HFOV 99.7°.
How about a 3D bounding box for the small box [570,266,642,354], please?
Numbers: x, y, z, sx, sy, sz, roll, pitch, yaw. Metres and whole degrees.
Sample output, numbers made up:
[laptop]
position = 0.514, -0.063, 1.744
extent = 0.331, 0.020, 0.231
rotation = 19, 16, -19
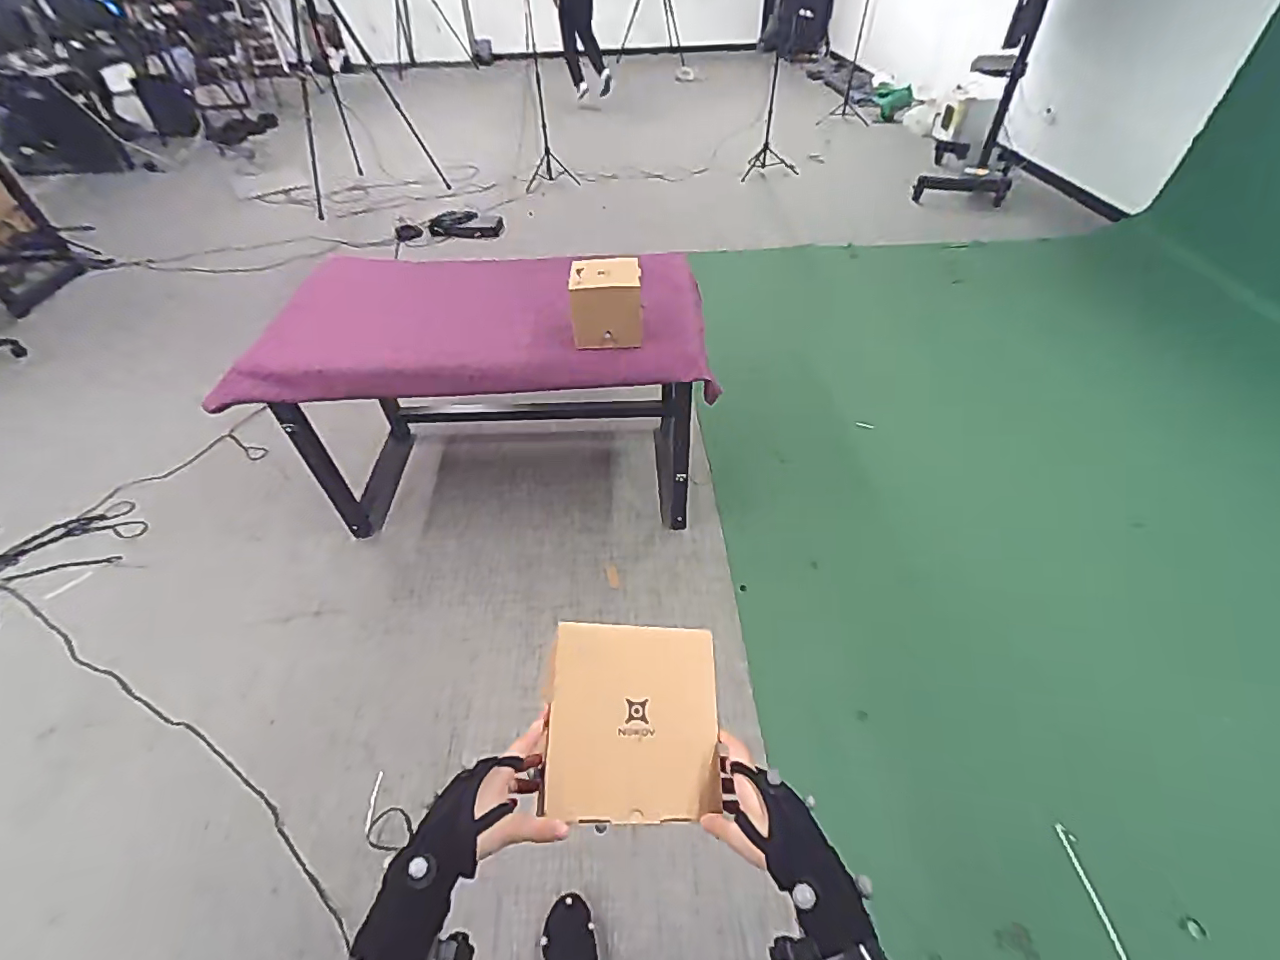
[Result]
[small box]
position = -0.082, -0.445, 1.419
extent = 0.179, 0.176, 0.168
rotation = -2, 43, 1
